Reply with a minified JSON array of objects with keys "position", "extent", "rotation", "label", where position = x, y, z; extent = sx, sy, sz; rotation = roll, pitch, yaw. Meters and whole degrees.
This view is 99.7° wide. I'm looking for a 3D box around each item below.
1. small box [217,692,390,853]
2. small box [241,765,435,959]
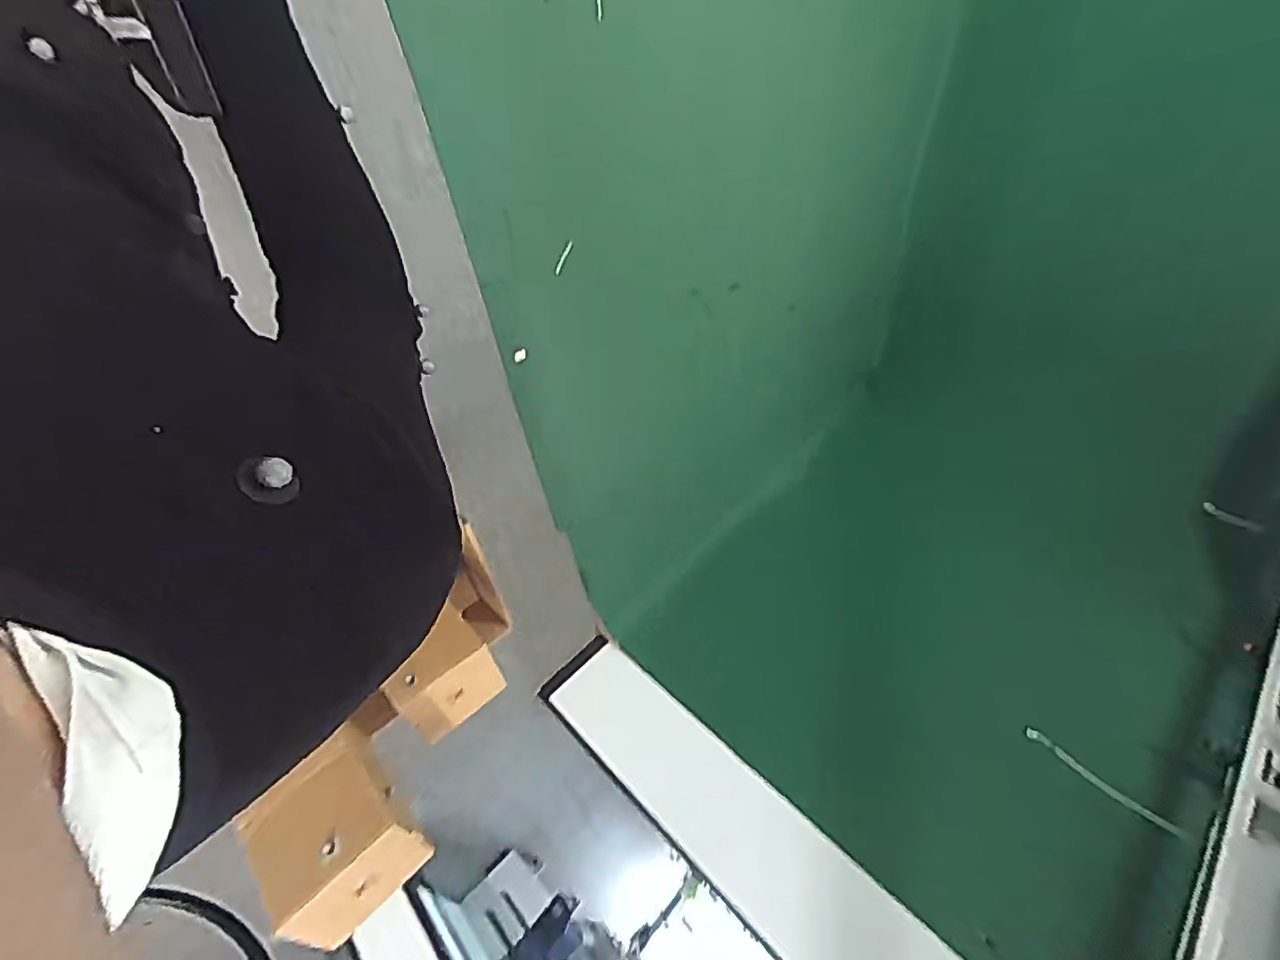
[{"position":[-0.565,0.501,0.906],"extent":[0.179,0.176,0.168],"rotation":[-37,141,-29],"label":"small box"},{"position":[-0.451,0.577,0.817],"extent":[0.179,0.176,0.168],"rotation":[-36,139,-28],"label":"small box"}]
